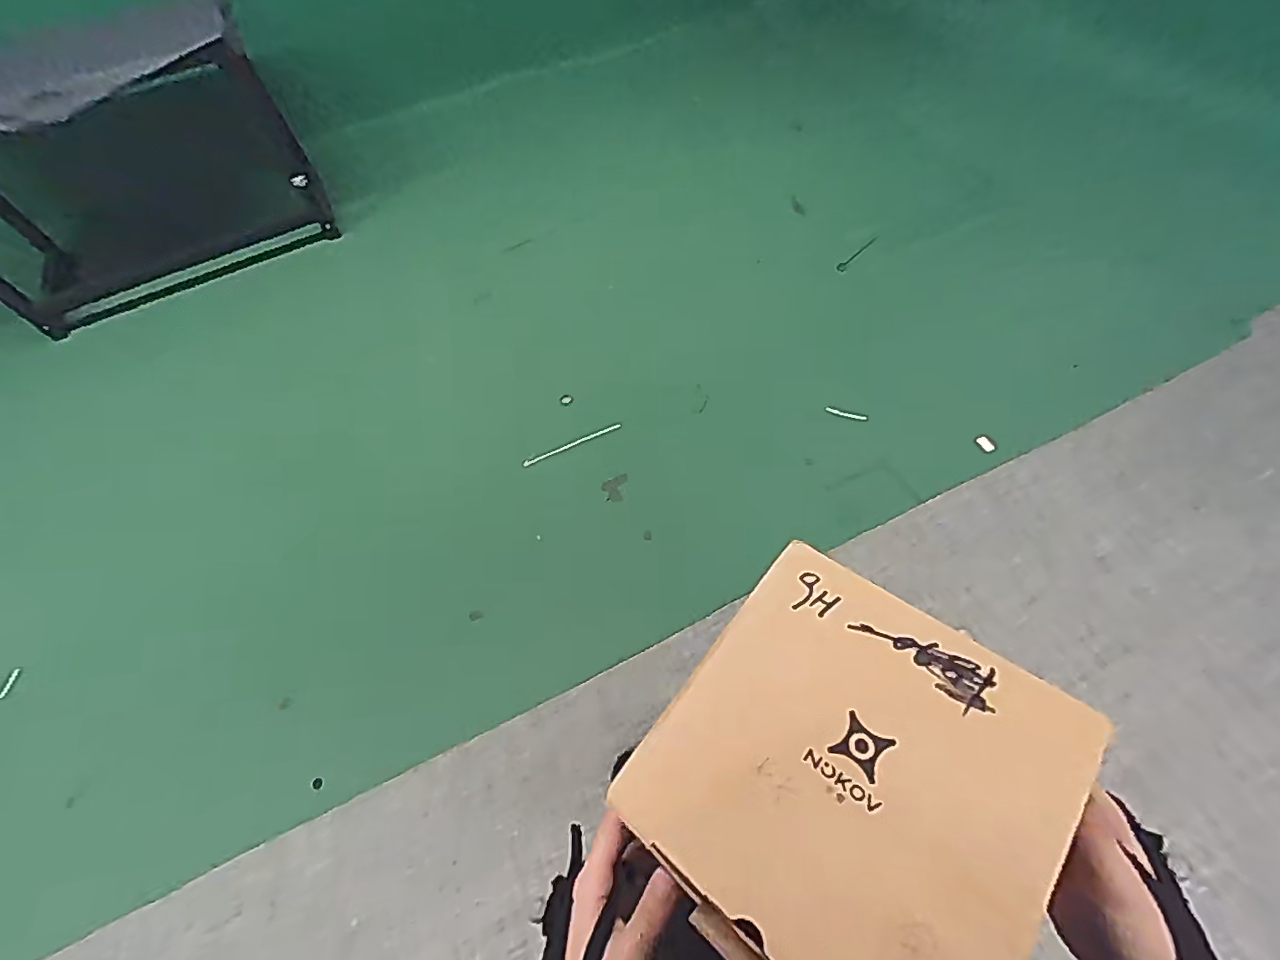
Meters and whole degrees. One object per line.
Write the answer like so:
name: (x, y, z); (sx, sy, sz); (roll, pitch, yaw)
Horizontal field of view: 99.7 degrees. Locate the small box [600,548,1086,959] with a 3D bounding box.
small box: (0.107, 0.181, 0.324); (0.168, 0.176, 0.179); (32, 67, 28)
